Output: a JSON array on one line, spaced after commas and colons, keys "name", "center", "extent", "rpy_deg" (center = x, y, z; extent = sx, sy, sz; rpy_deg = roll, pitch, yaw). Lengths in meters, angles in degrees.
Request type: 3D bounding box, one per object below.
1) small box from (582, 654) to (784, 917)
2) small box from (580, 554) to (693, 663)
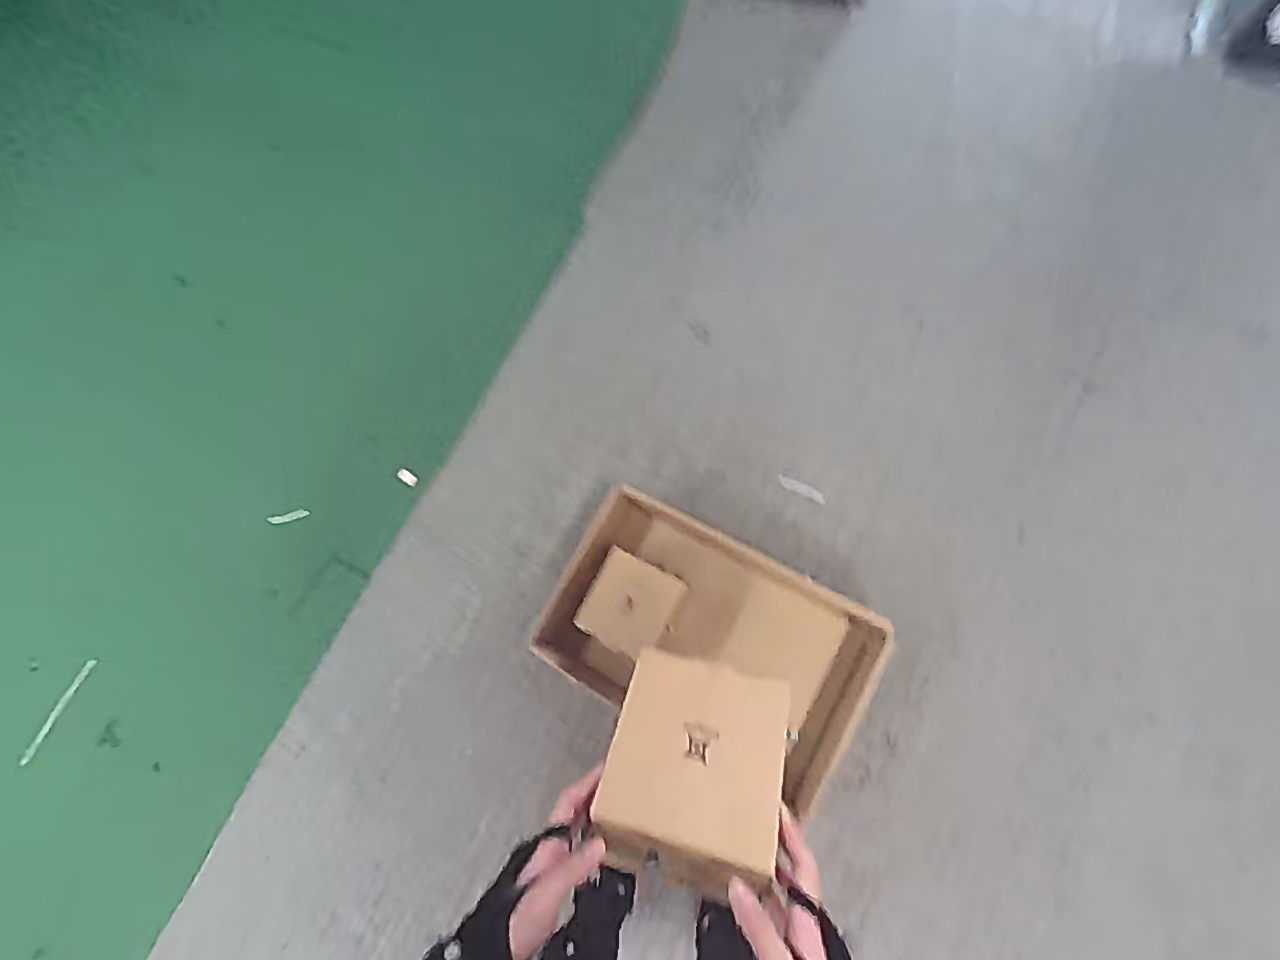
[{"name": "small box", "center": [0.052, 0.320, 0.569], "extent": [0.168, 0.176, 0.179], "rpy_deg": [9, 41, 12]}, {"name": "small box", "center": [0.003, 0.281, 1.142], "extent": [0.168, 0.176, 0.179], "rpy_deg": [27, 81, 16]}]
